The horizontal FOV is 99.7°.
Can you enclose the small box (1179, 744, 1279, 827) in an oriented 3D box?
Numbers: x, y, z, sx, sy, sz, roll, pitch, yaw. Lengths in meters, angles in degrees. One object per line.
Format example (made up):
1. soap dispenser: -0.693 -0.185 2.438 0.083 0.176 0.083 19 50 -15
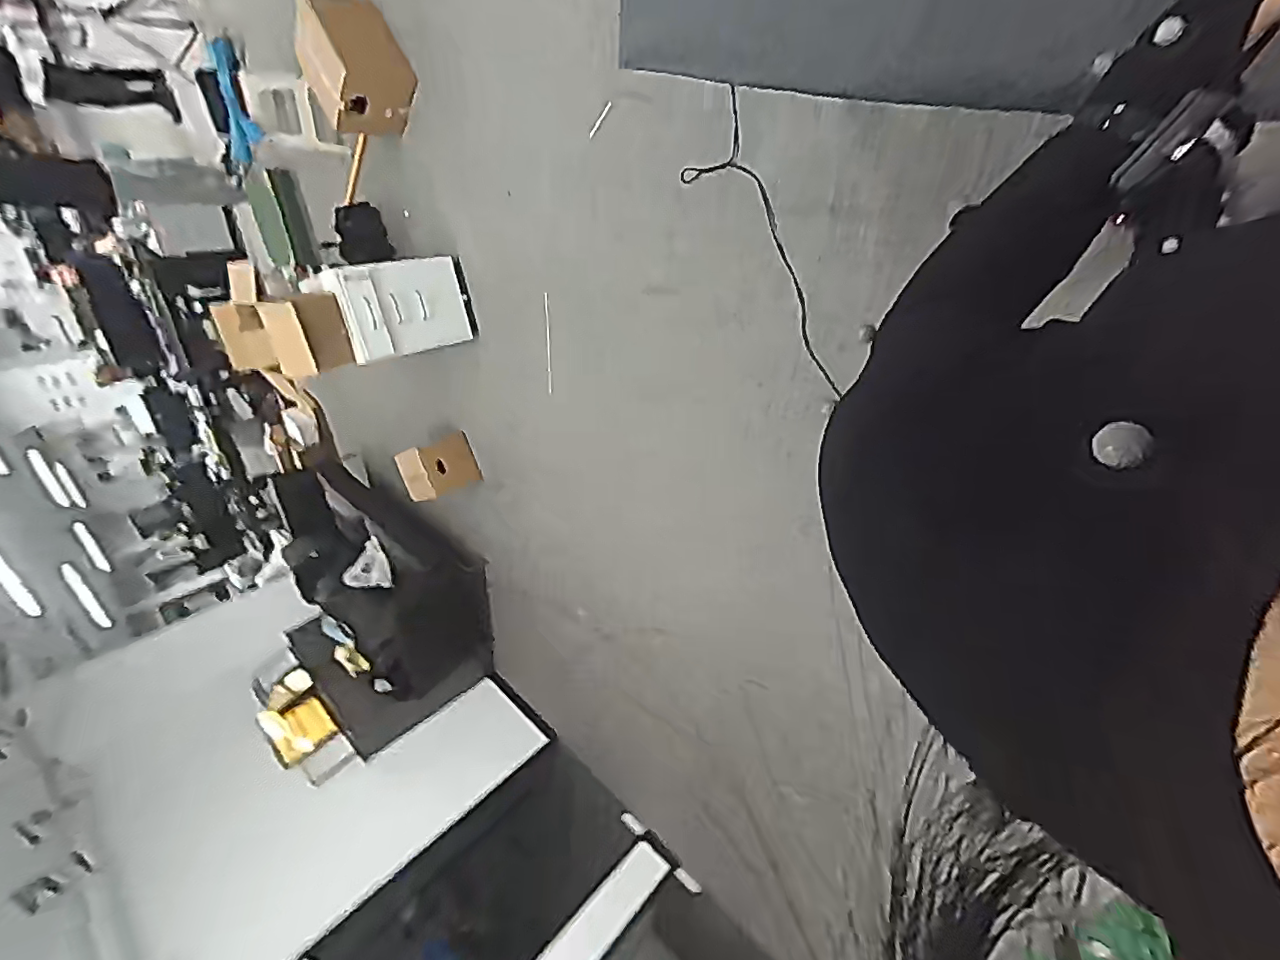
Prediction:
1. small box: 1.300 0.702 1.135 0.179 0.176 0.168 38 134 28
